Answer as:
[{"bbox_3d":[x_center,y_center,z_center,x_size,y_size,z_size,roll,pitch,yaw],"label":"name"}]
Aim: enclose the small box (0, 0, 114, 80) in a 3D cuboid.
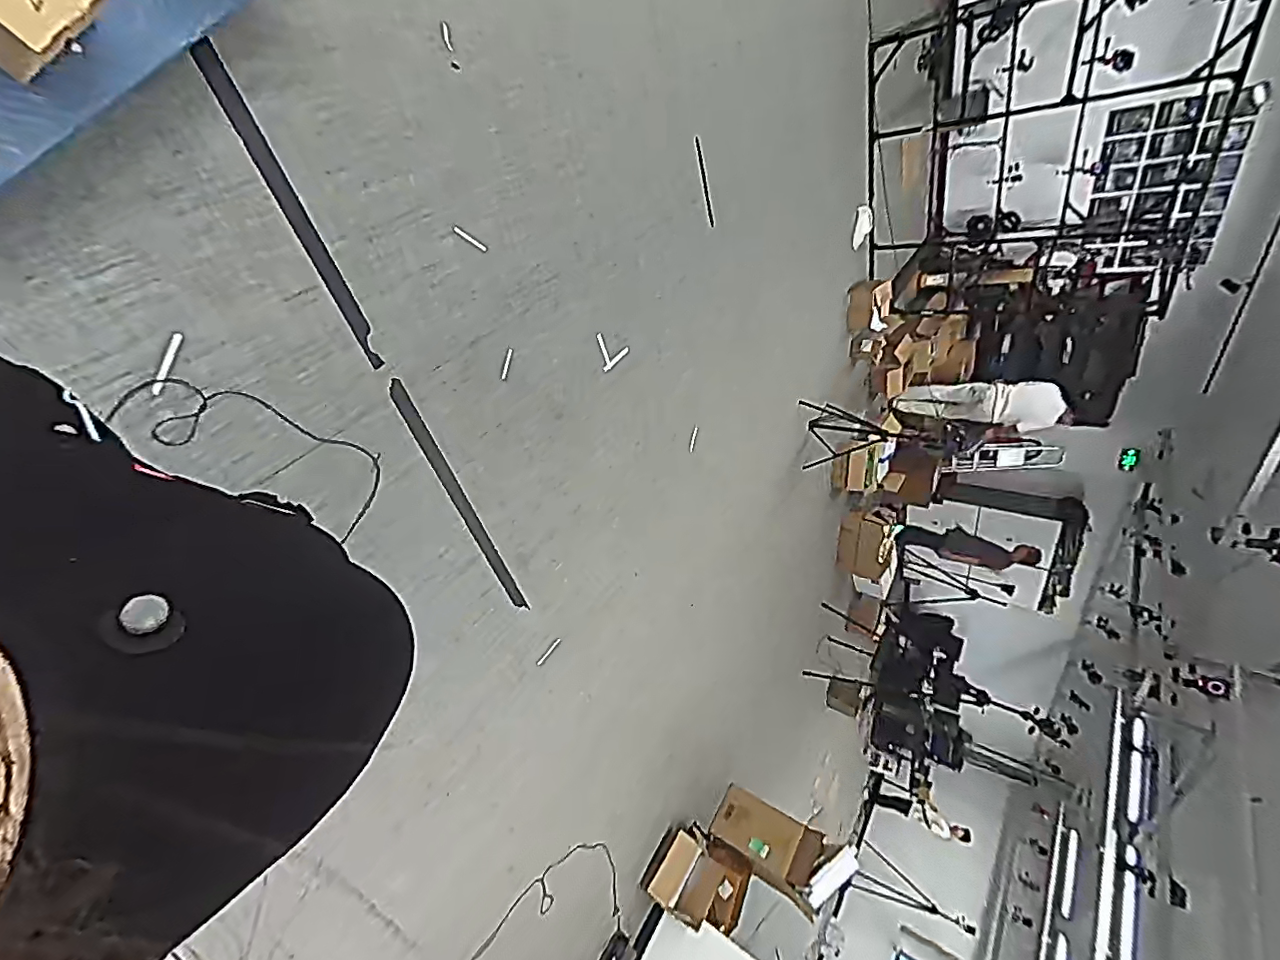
[{"bbox_3d":[-0.870,-0.692,0.728,0.179,0.176,0.168,45,65,-50],"label":"small box"}]
